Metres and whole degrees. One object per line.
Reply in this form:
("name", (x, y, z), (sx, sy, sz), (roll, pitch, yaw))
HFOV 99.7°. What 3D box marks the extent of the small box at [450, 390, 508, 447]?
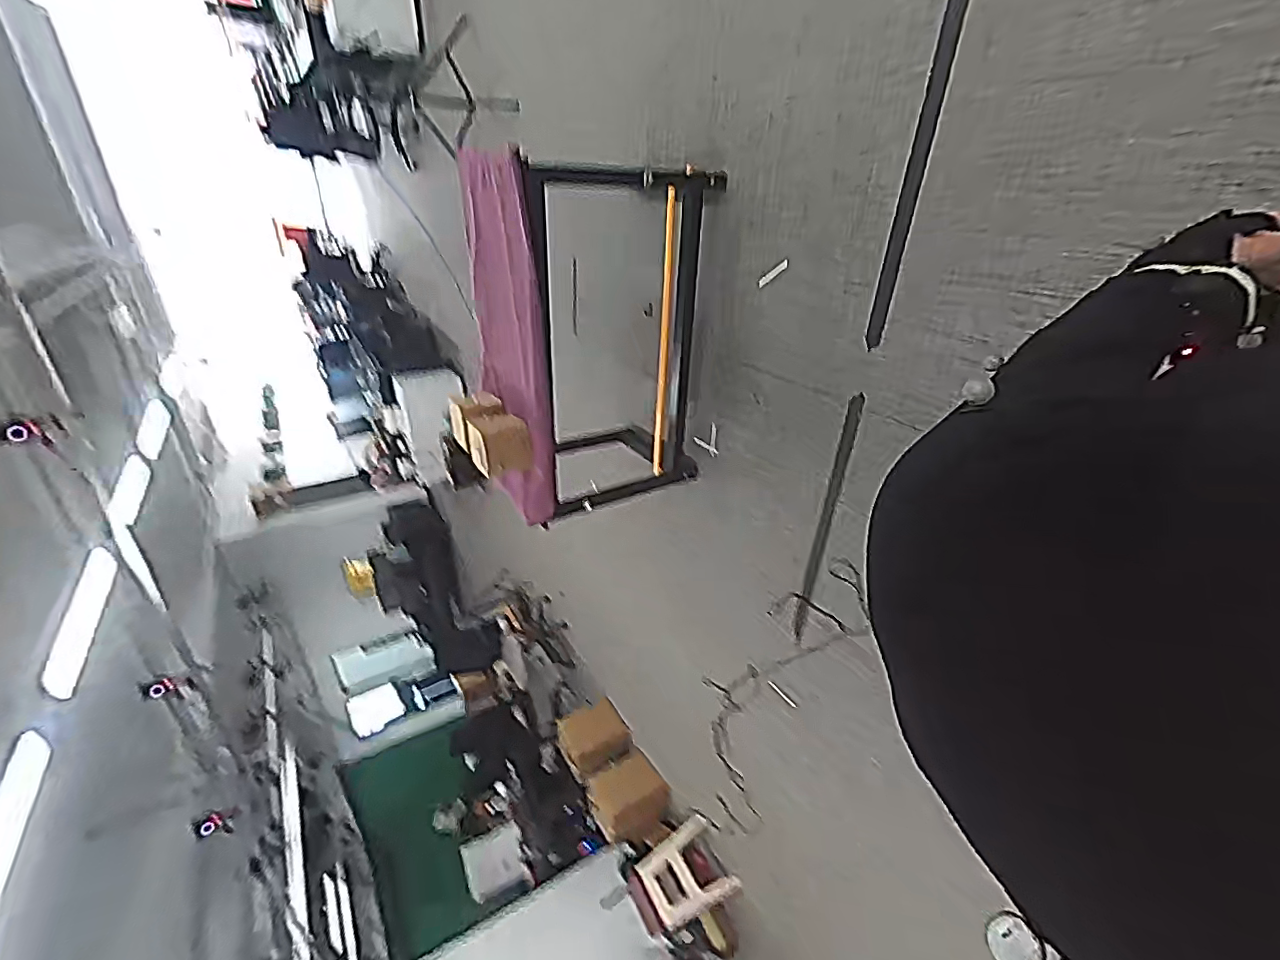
("small box", (-0.639, -0.252, 2.147), (0.168, 0.176, 0.179), (34, 132, 49))
